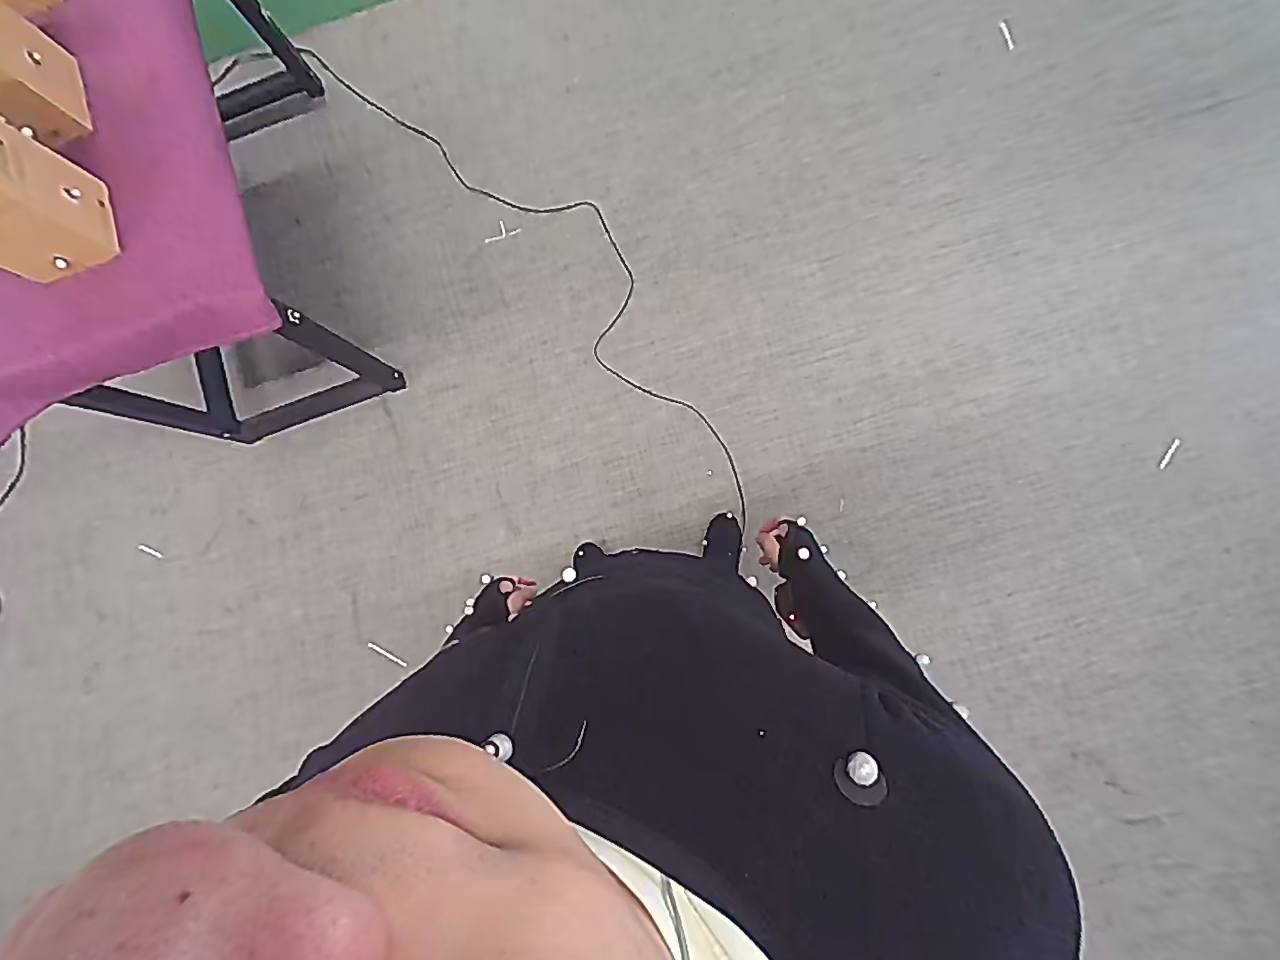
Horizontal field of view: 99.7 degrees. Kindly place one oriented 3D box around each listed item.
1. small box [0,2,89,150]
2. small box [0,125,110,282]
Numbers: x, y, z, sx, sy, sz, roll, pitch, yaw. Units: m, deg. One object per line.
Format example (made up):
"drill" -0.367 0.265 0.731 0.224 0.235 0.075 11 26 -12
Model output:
"small box" -1.227 -0.773 1.033 0.168 0.176 0.179 -19 84 2
"small box" -1.137 -0.499 0.997 0.179 0.176 0.168 -19 82 1
